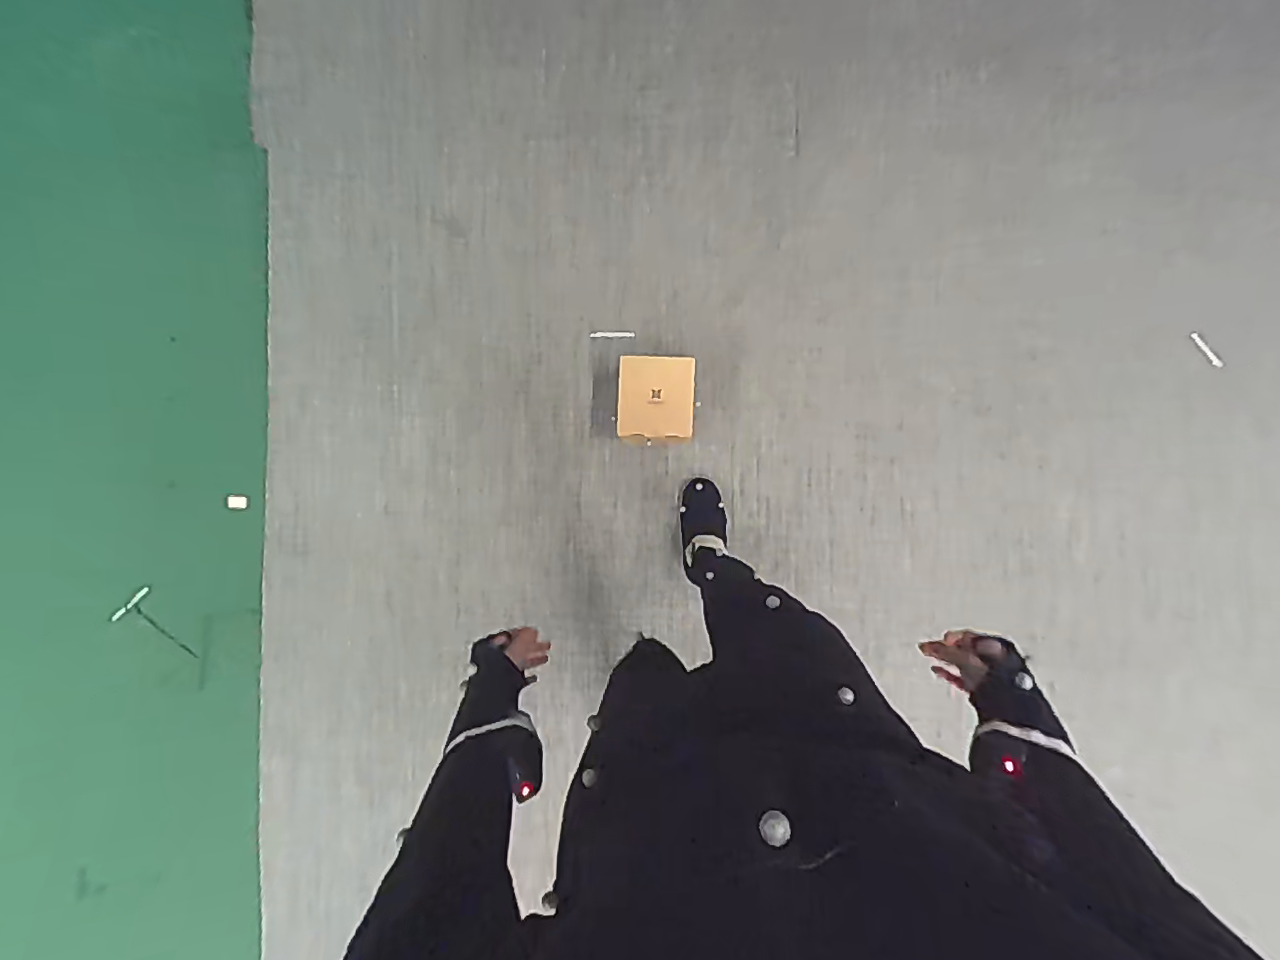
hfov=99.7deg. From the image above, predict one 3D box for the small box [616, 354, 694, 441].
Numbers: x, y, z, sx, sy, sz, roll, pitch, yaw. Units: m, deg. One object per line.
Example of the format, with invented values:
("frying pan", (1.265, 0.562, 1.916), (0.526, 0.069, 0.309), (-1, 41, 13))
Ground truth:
("small box", (0.035, -0.185, 1.249), (0.168, 0.176, 0.179), (2, 91, 2))
